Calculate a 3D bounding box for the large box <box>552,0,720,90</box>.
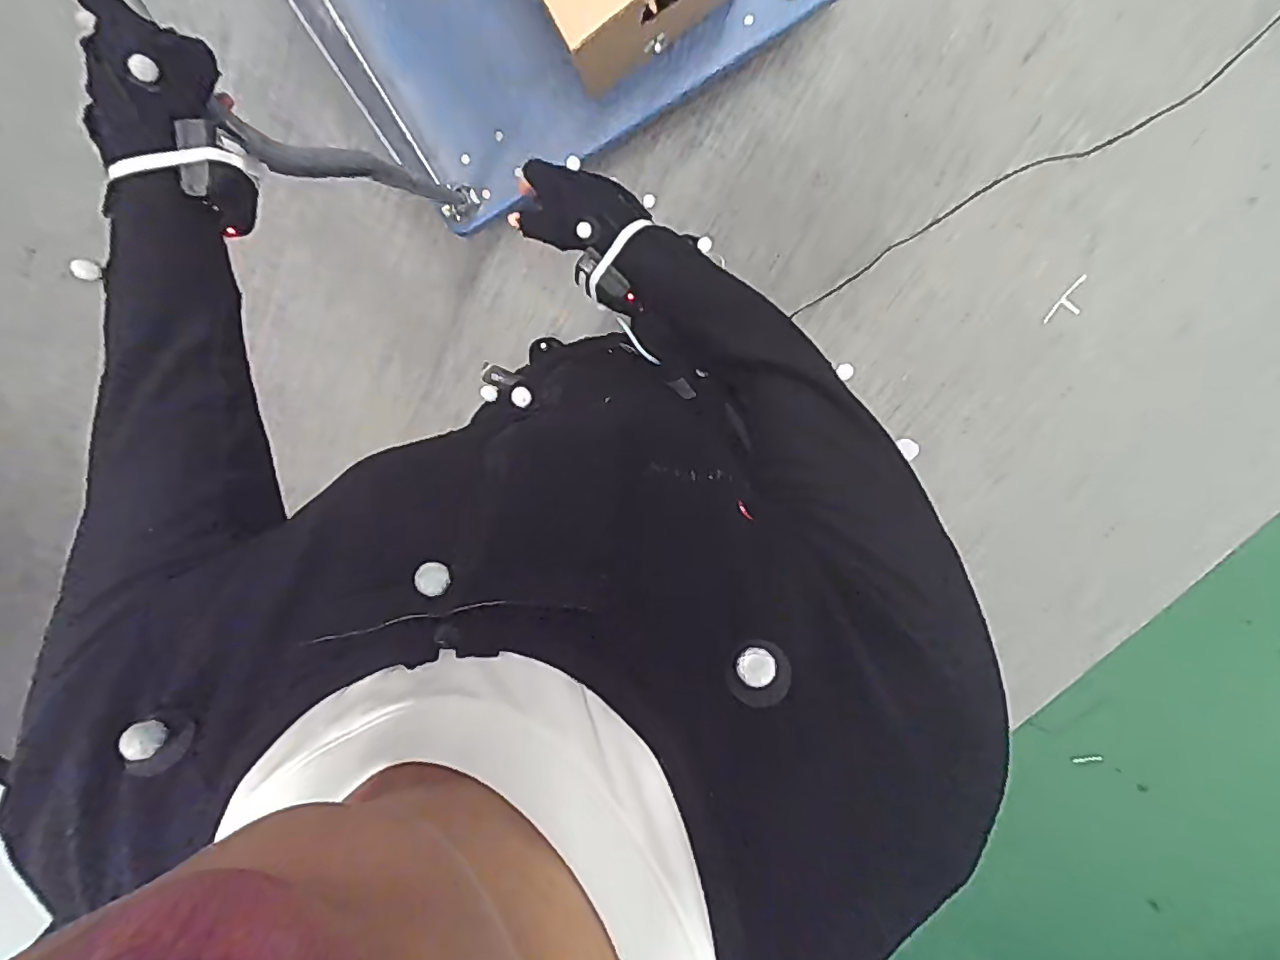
[{"bbox_3d":[-0.053,-0.895,0.784,0.320,0.320,0.408,-28,110,13],"label":"large box"}]
